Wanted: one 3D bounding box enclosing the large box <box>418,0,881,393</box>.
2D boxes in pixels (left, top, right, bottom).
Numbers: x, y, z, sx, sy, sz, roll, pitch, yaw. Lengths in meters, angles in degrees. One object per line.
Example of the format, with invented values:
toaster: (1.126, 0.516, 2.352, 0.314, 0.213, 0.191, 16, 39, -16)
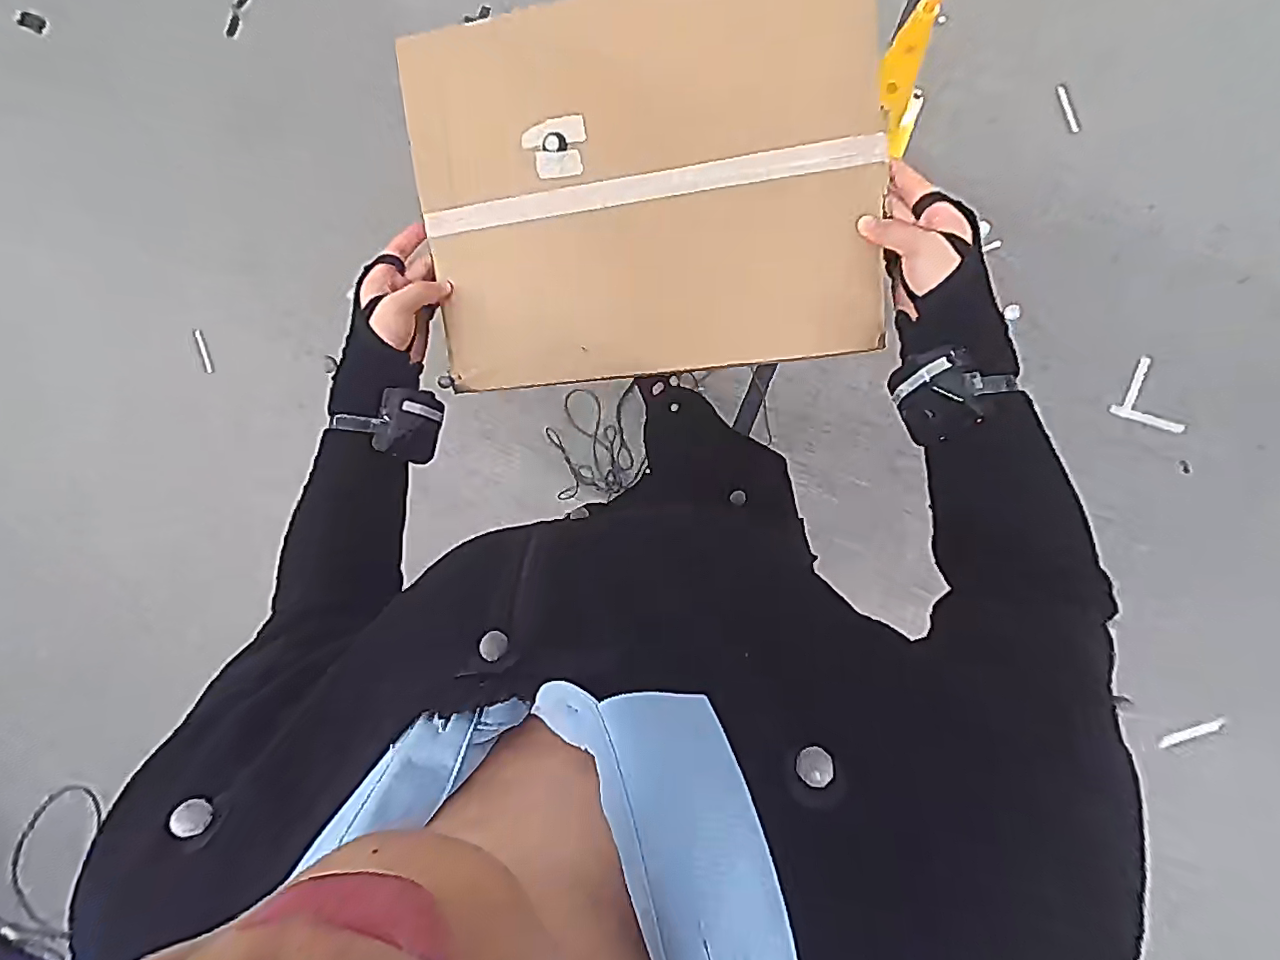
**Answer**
large box: (0.030, -0.284, 0.632, 0.408, 0.320, 0.320, -4, 100, 11)
